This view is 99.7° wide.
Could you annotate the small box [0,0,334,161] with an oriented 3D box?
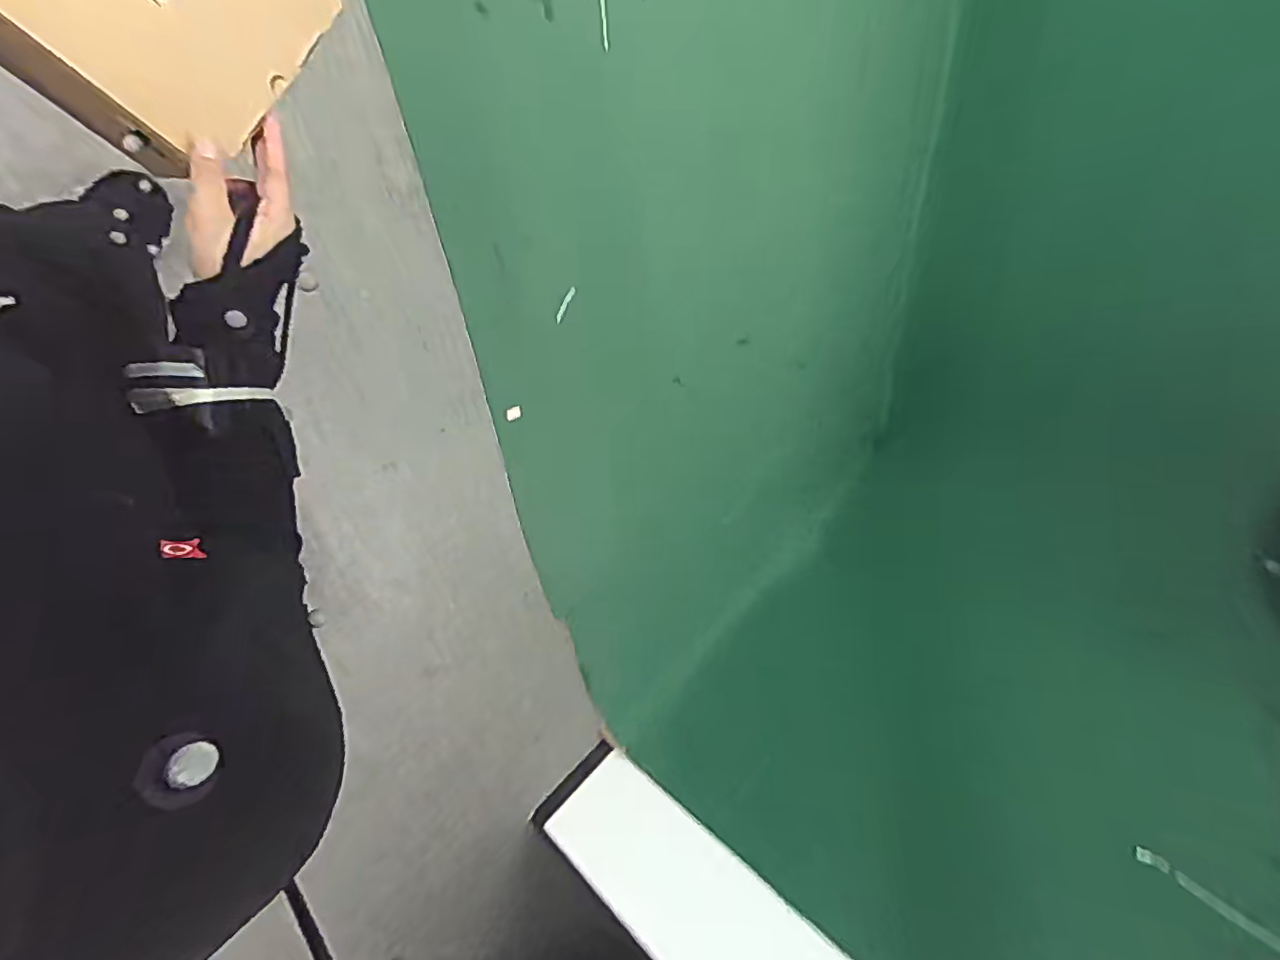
[{"bbox_3d":[-0.356,-0.343,0.358,0.168,0.176,0.179,-62,147,-7],"label":"small box"}]
